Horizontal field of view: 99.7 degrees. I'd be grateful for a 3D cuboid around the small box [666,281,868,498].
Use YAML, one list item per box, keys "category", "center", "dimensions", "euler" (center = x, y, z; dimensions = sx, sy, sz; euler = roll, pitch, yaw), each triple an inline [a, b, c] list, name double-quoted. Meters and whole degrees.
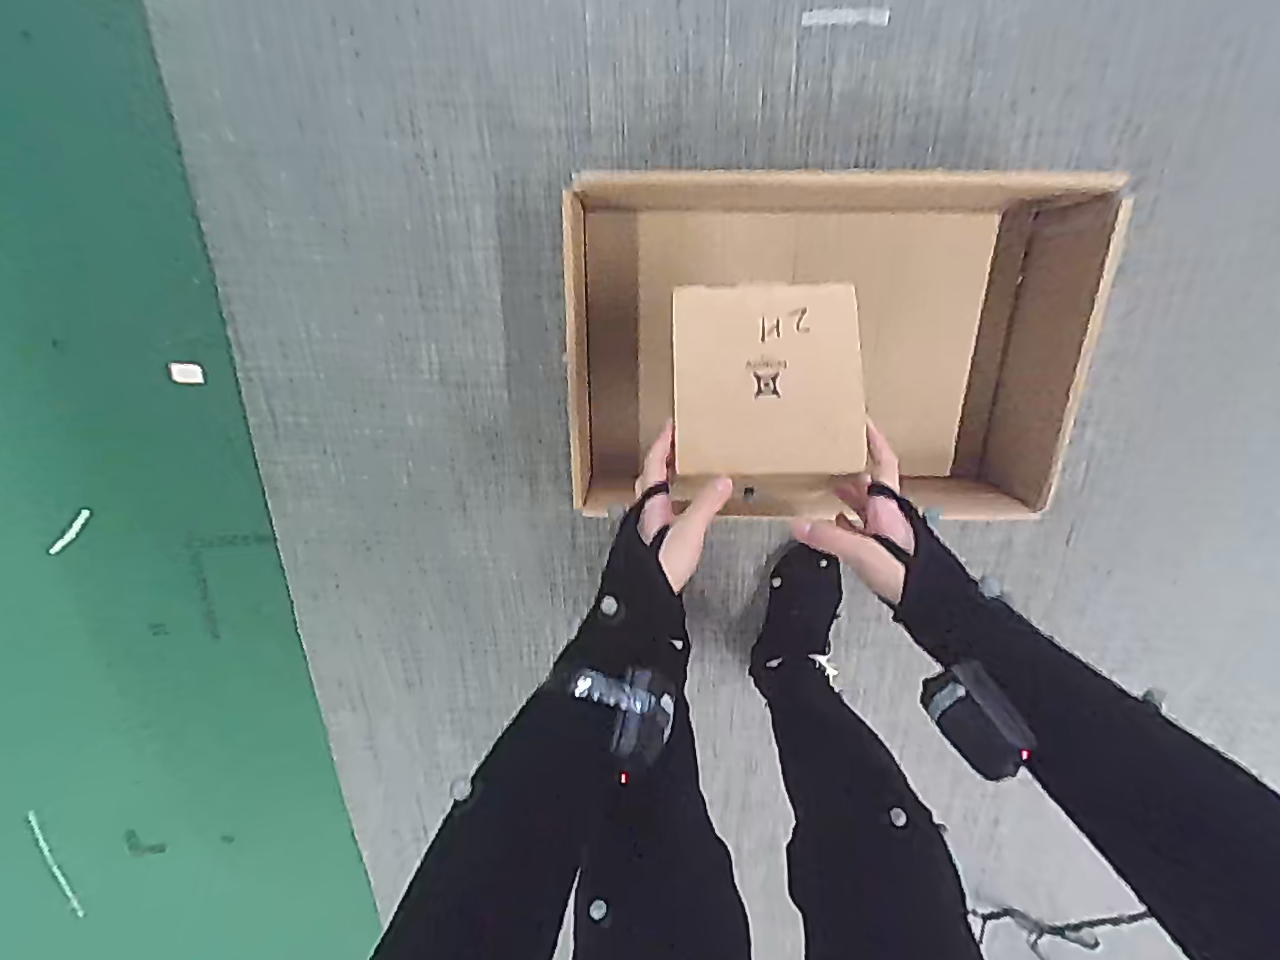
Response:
- category: "small box"
  center: [0.112, -0.076, 0.542]
  dimensions: [0.168, 0.176, 0.179]
  euler: [0, 80, 1]
